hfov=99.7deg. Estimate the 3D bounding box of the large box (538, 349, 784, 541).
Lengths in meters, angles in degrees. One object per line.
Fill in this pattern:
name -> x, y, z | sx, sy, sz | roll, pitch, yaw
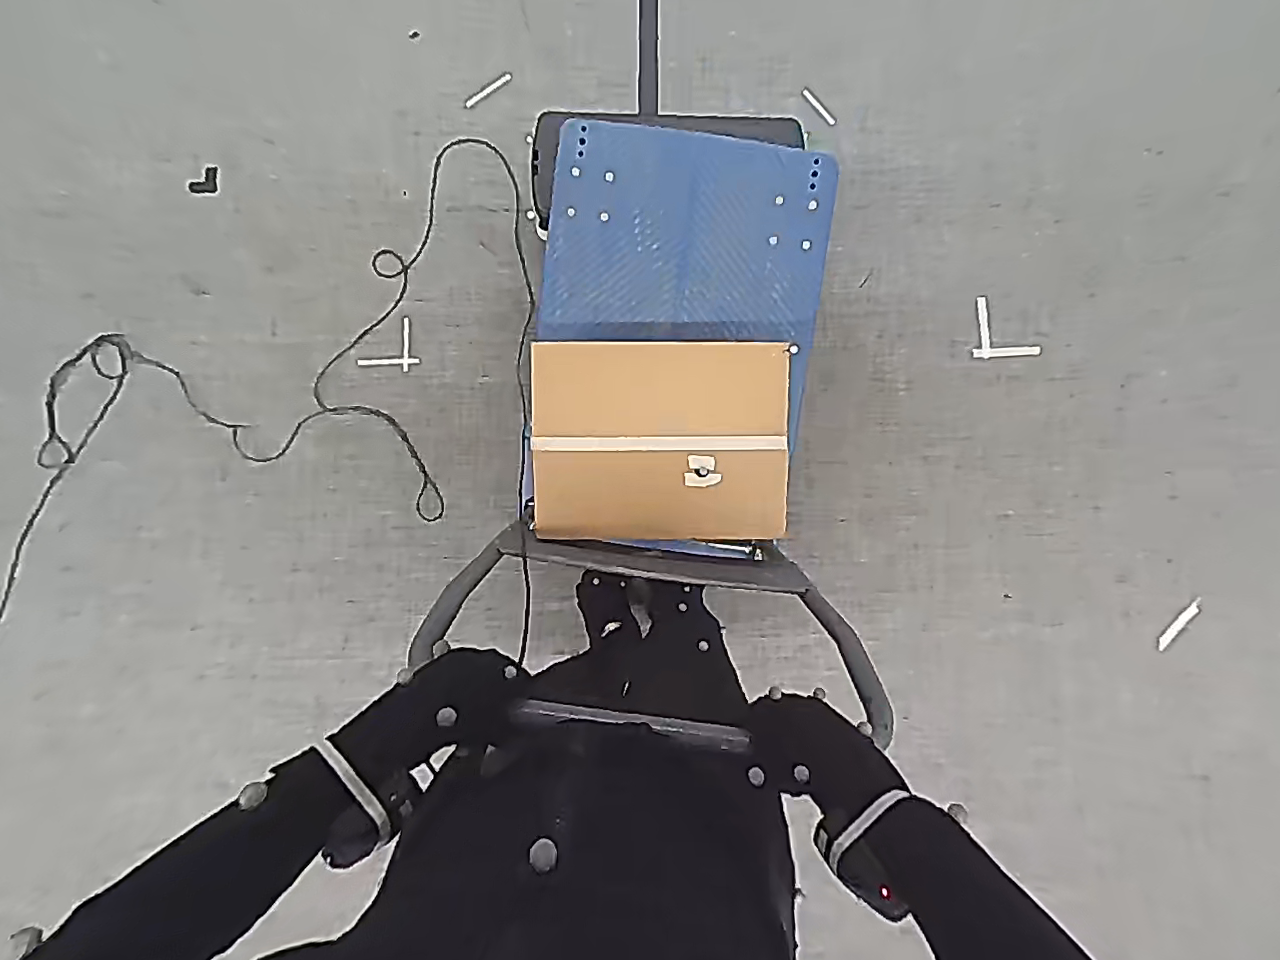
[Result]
large box -> 0.032, -0.067, 1.027 | 0.408, 0.320, 0.320 | 0, 96, -1
